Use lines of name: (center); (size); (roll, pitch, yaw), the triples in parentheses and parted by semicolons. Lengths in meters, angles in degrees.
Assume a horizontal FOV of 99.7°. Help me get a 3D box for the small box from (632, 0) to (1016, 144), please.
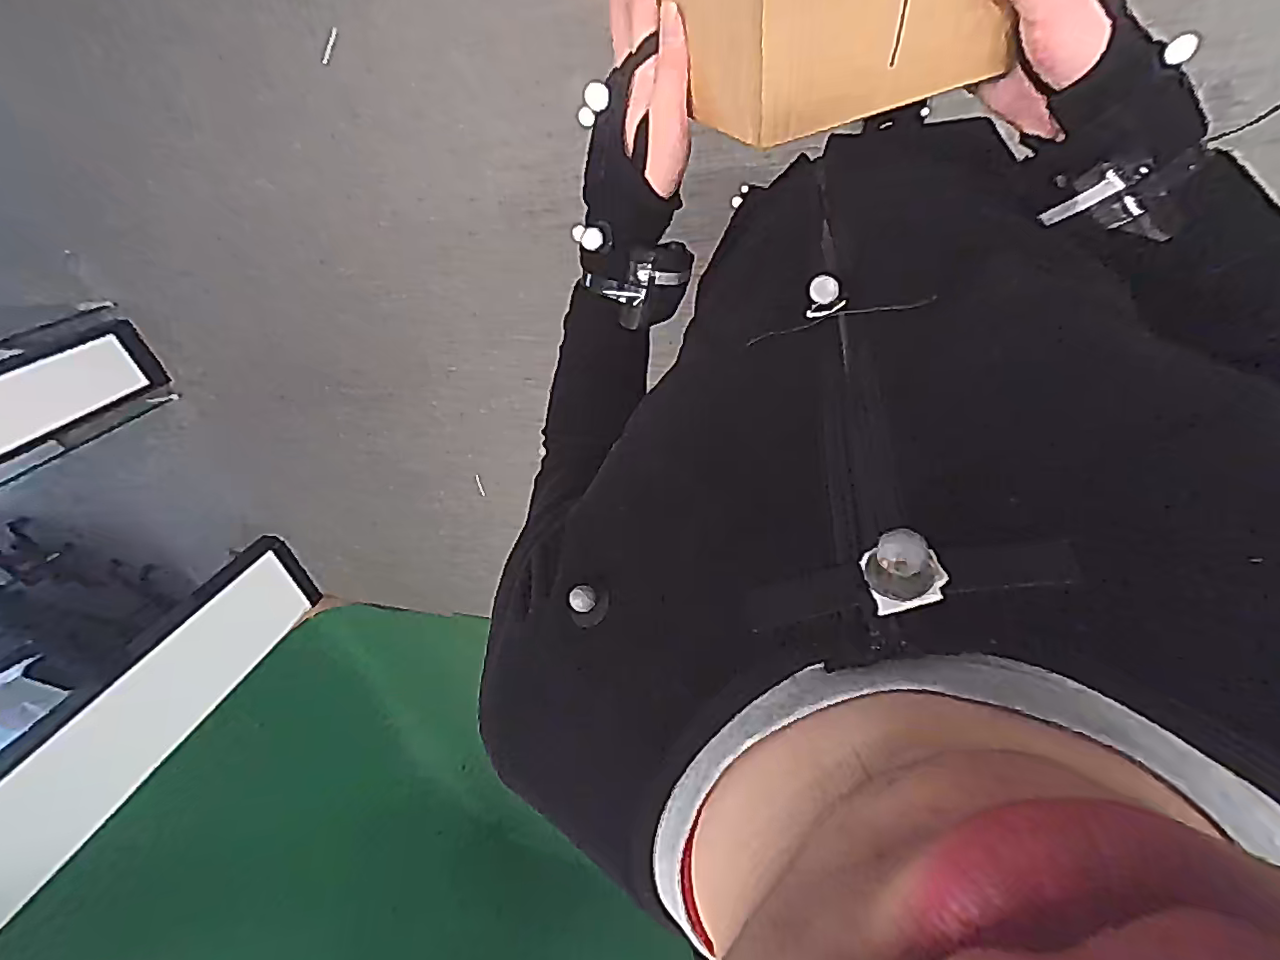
small box: (0.093, -0.321, 0.301); (0.168, 0.176, 0.179); (-22, 137, -8)
